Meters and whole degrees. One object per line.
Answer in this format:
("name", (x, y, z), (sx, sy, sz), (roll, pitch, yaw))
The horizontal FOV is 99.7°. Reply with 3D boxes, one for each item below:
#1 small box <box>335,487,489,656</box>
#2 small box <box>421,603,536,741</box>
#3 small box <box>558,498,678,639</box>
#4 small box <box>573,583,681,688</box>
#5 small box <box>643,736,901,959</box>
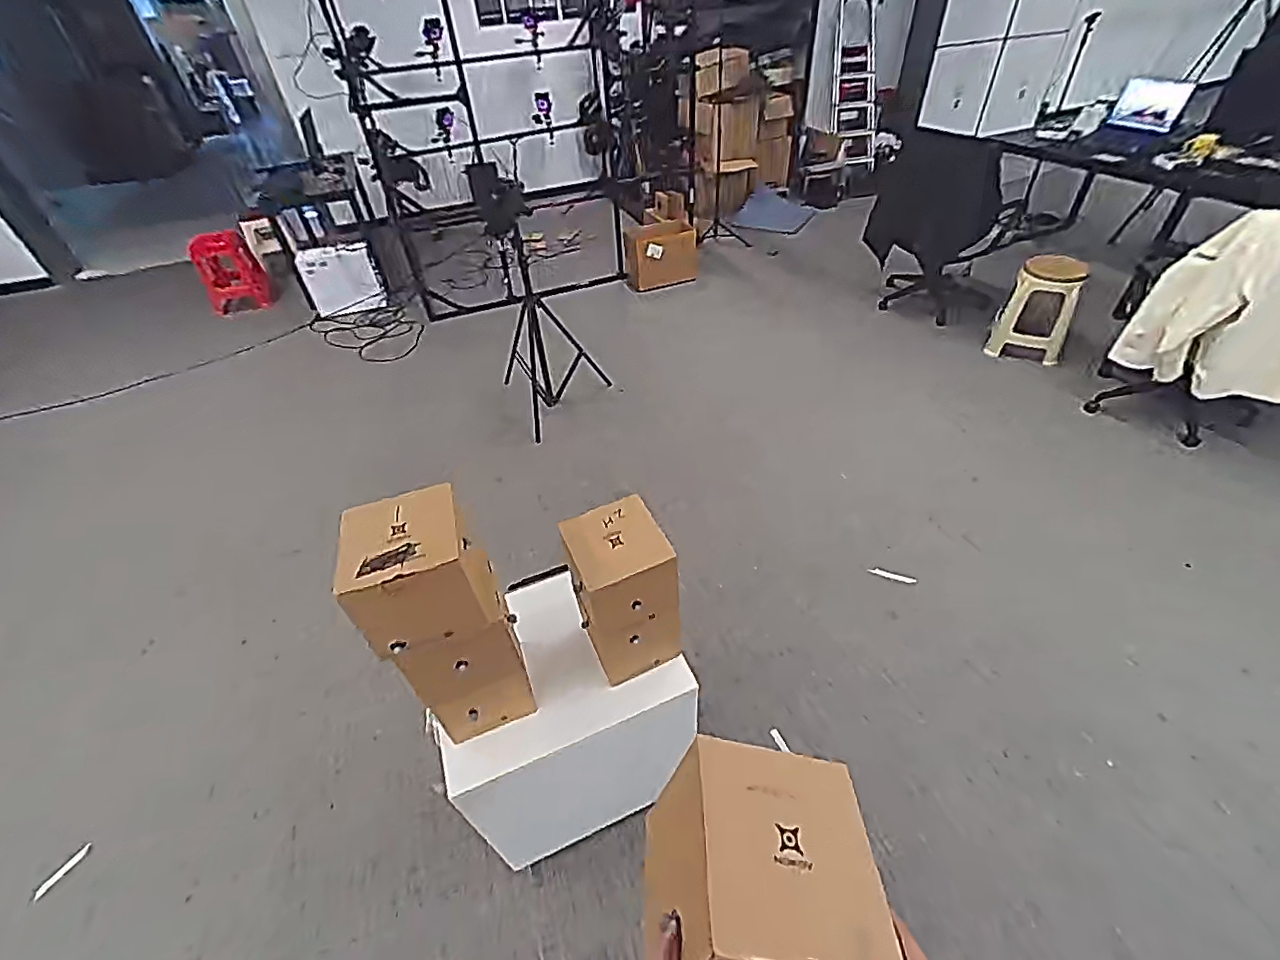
("small box", (-0.339, 0.145, 0.827), (0.168, 0.176, 0.179), (-16, 43, -11))
("small box", (-0.313, 0.381, 1.056), (0.168, 0.176, 0.179), (-18, 44, -14))
("small box", (-0.037, 0.171, 1.009), (0.168, 0.176, 0.179), (-20, 45, -15))
("small box", (-0.025, 0.291, 1.121), (0.168, 0.176, 0.179), (-21, 45, -15))
("small box", (0.106, 0.383, 0.512), (0.168, 0.176, 0.179), (16, 31, -9))
